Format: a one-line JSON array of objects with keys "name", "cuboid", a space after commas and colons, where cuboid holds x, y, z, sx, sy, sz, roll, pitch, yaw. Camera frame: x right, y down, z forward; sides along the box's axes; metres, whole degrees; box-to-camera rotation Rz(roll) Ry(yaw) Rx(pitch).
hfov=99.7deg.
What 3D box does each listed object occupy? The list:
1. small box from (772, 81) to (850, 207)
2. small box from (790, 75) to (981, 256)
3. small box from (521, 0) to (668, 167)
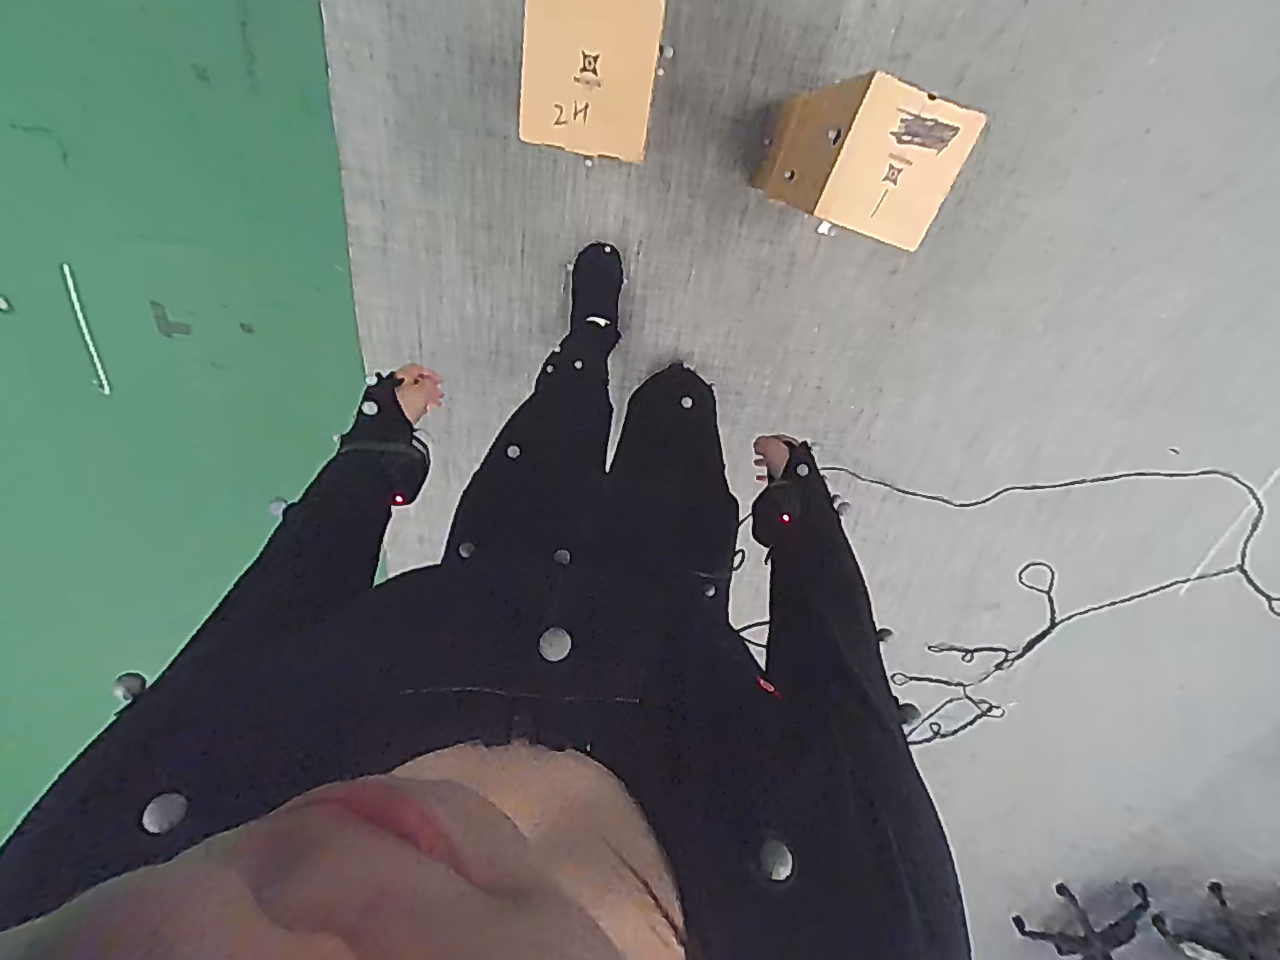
[{"name": "small box", "cuboid": [0.345, -0.553, 0.936, 0.168, 0.176, 0.179, 14, 121, -8]}, {"name": "small box", "cuboid": [0.343, -0.461, 0.800, 0.168, 0.176, 0.179, 15, 122, -9]}, {"name": "small box", "cuboid": [-0.061, -0.548, 0.747, 0.168, 0.176, 0.179, 9, 120, -4]}]
